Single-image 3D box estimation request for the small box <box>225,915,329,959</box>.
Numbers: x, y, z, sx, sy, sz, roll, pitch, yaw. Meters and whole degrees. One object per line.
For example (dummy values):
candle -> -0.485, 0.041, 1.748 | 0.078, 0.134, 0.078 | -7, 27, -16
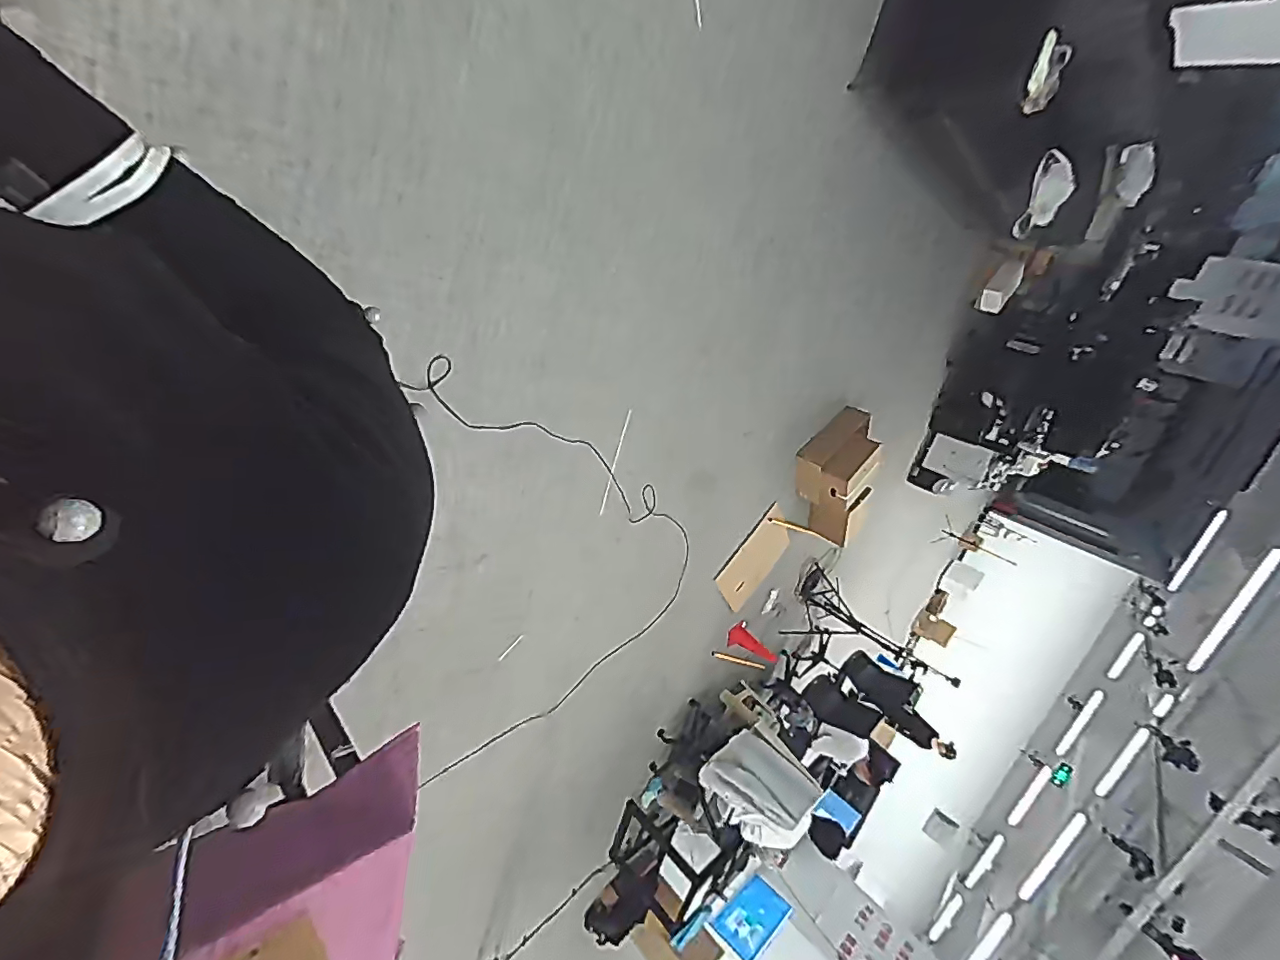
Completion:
small box -> -0.690, 0.991, 1.023 | 0.168, 0.176, 0.179 | -4, 119, -48
